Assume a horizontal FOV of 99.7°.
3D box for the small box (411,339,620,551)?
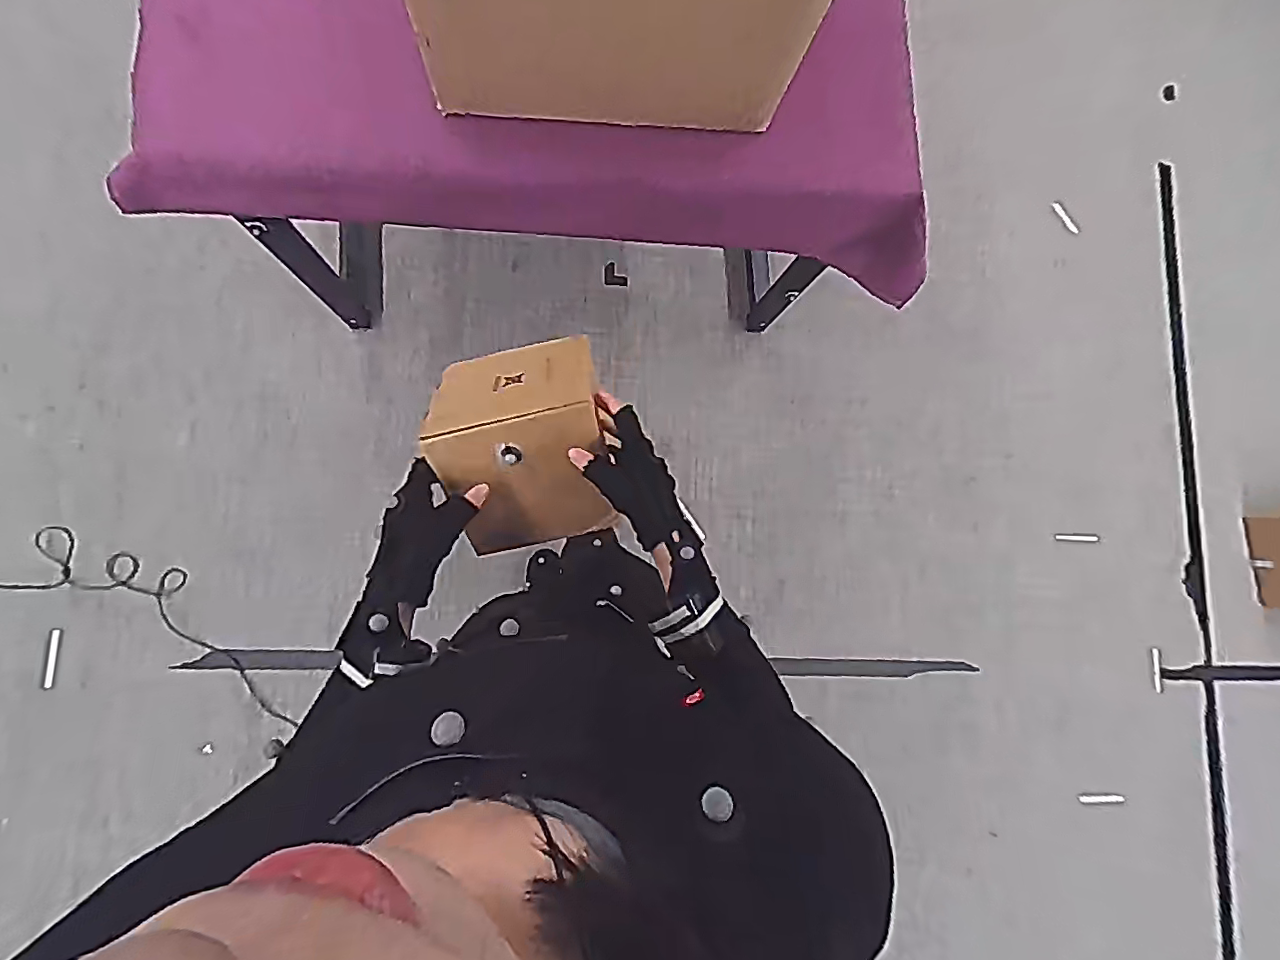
[{"bbox_3d":[-0.130,-0.039,0.628,0.179,0.168,0.176,-12,127,1],"label":"small box"}]
